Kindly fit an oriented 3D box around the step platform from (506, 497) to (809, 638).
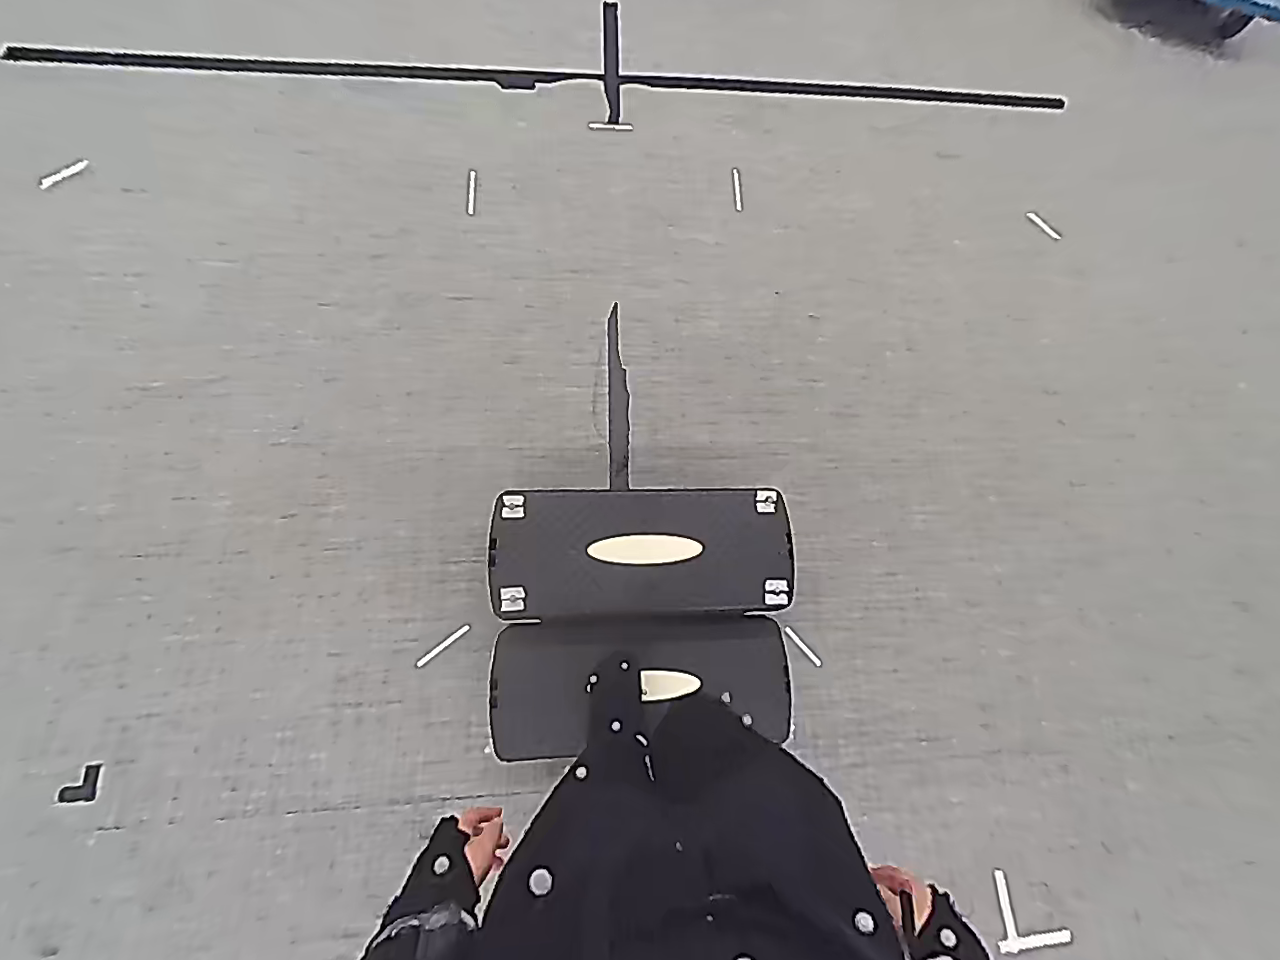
[{"bbox_3d":[0.039,0.207,1.255,0.684,0.204,0.286,4,73,-5],"label":"step platform"}]
